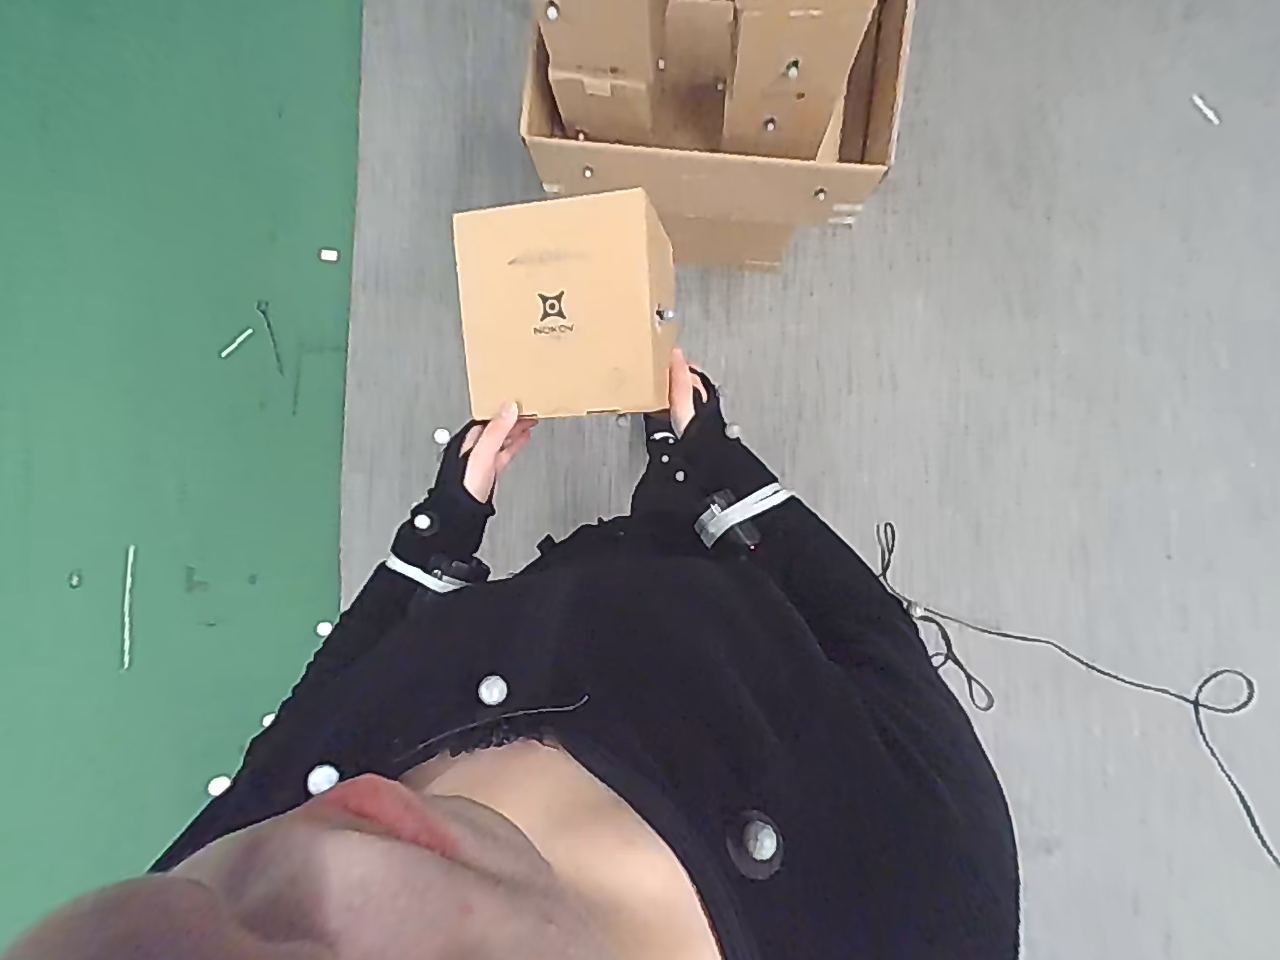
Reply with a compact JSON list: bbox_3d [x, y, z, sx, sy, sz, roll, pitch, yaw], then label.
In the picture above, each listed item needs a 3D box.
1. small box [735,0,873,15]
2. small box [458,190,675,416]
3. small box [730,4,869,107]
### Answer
[{"bbox_3d":[0.203,-0.670,0.604,0.179,0.176,0.168,5,89,4],"label":"small box"},{"bbox_3d":[-0.057,-0.156,0.531,0.168,0.176,0.179,-1,98,10],"label":"small box"},{"bbox_3d":[0.221,-0.668,0.767,0.168,0.176,0.179,4,90,4],"label":"small box"}]
